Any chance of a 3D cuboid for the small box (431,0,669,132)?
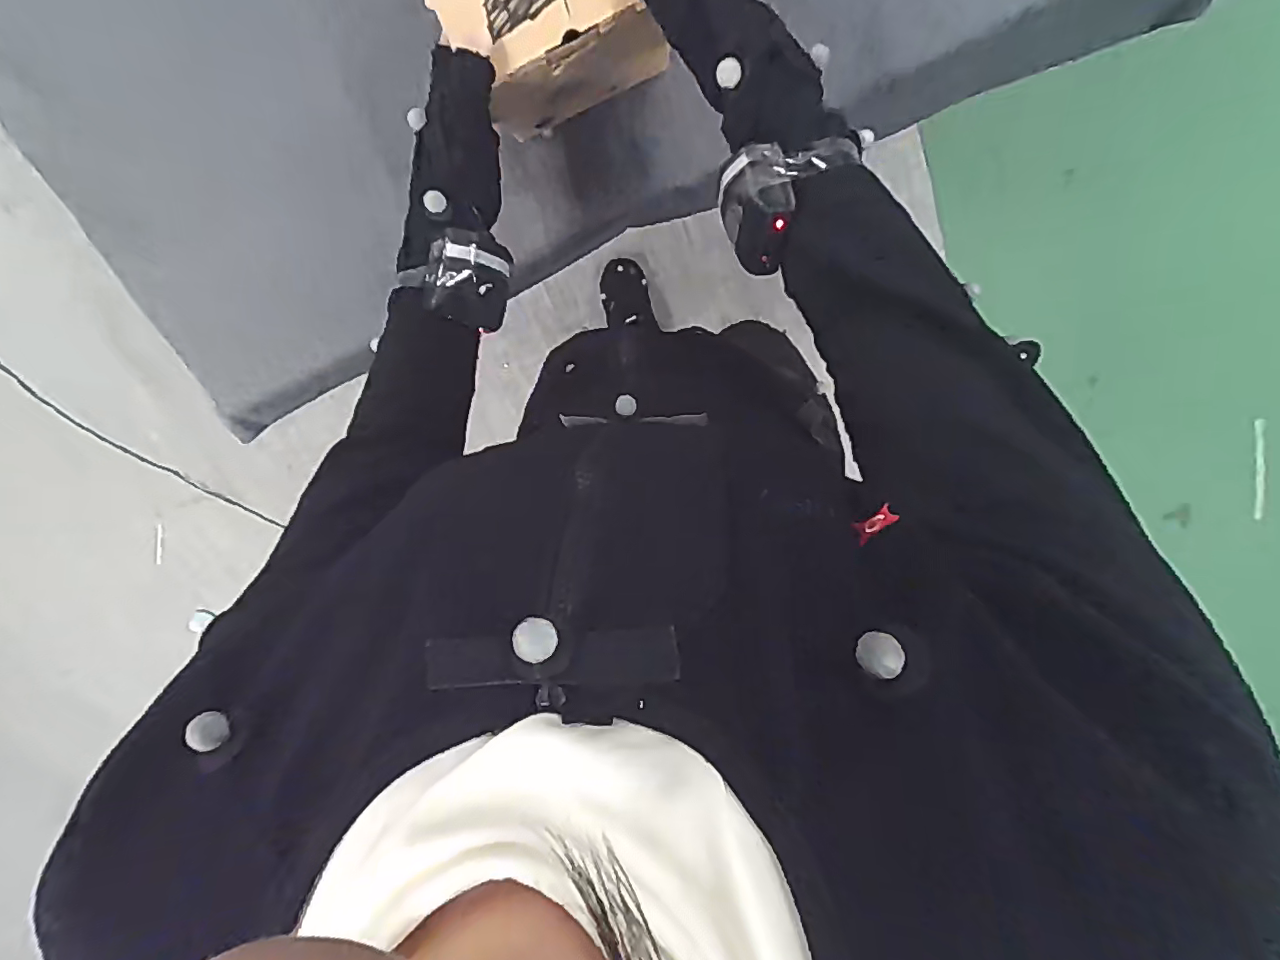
[{"bbox_3d":[-0.082,-0.420,0.447,0.168,0.176,0.179,-22,109,8],"label":"small box"}]
